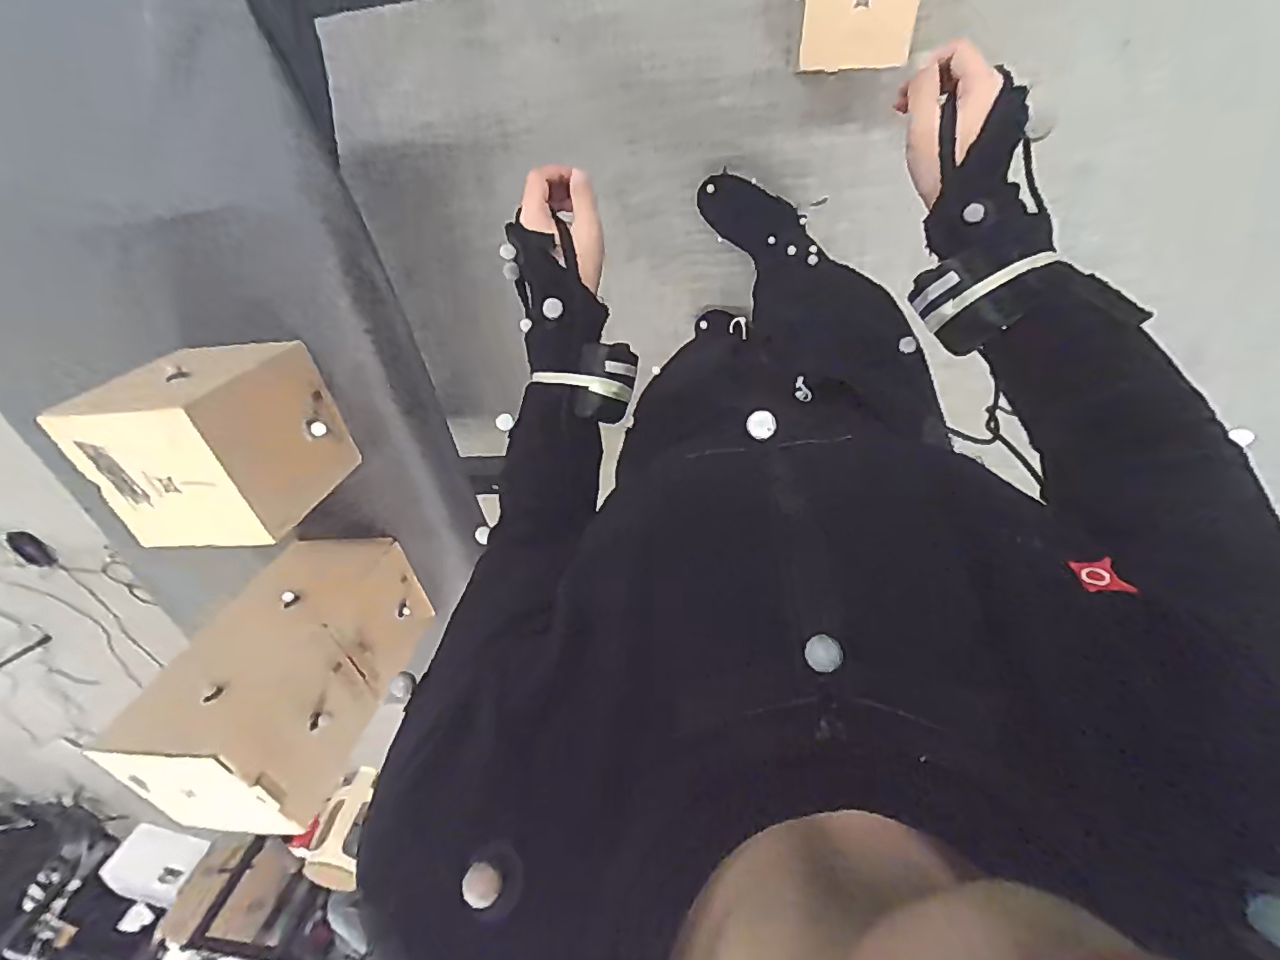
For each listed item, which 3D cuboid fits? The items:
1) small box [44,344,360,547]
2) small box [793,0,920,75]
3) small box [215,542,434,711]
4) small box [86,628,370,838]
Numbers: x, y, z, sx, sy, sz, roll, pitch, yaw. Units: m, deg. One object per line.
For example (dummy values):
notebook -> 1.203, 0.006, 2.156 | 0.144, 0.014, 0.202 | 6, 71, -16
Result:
small box -> -0.461, -0.042, 0.604 | 0.179, 0.176, 0.168 | -2, 124, 11
small box -> 0.342, -0.761, 0.863 | 0.168, 0.176, 0.179 | 4, 127, 8
small box -> -0.432, 0.203, 0.773 | 0.179, 0.176, 0.168 | -3, 123, 12
small box -> -0.454, 0.291, 0.637 | 0.179, 0.176, 0.168 | -5, 123, 12
